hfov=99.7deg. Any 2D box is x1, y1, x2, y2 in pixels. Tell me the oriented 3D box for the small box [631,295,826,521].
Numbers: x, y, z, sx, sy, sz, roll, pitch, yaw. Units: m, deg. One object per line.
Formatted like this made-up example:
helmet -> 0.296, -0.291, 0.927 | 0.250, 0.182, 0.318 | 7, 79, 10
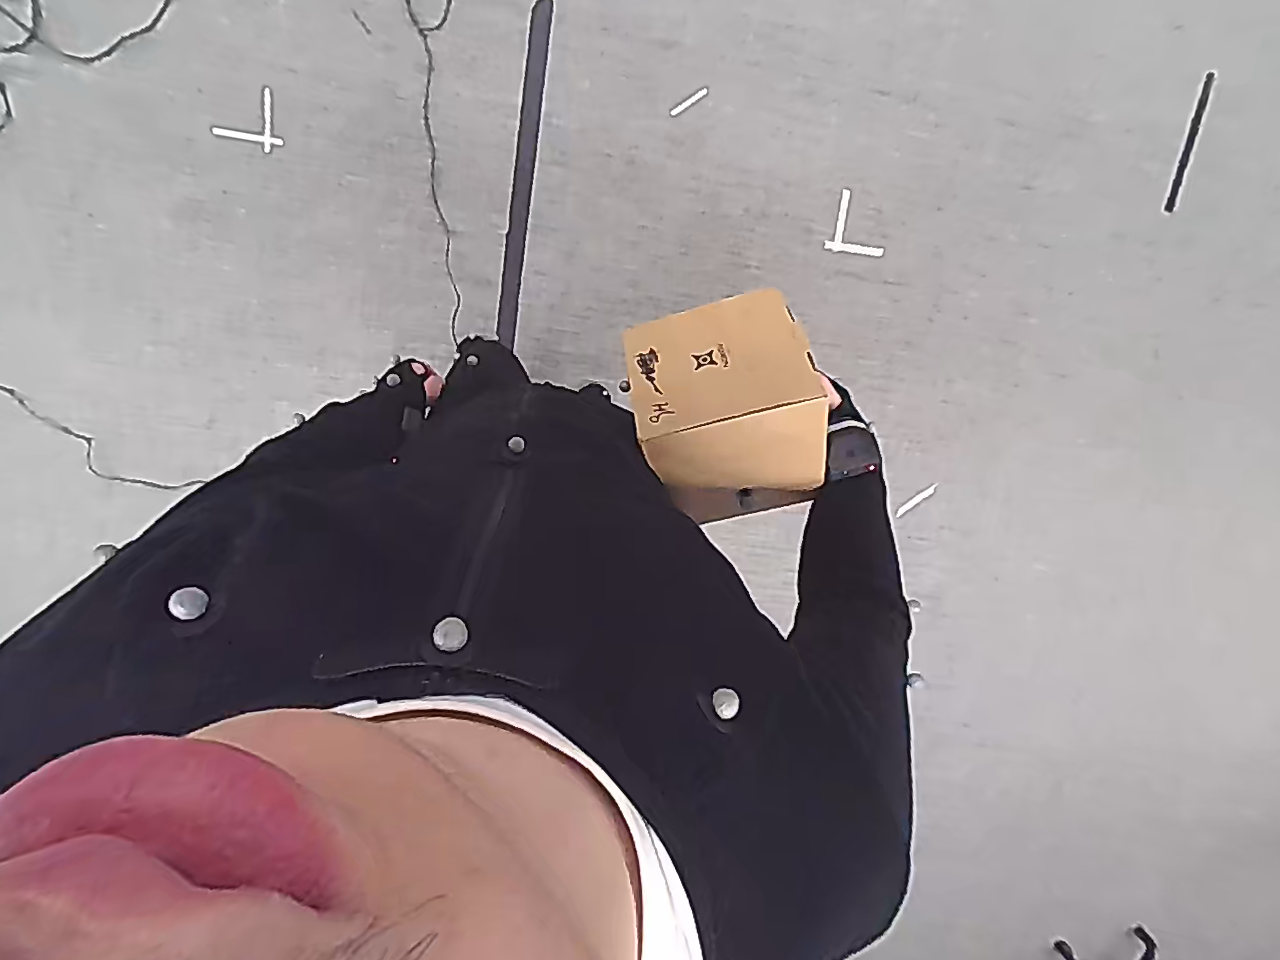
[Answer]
small box -> 0.098, -0.075, 0.616 | 0.179, 0.168, 0.176 | -12, 141, 7
